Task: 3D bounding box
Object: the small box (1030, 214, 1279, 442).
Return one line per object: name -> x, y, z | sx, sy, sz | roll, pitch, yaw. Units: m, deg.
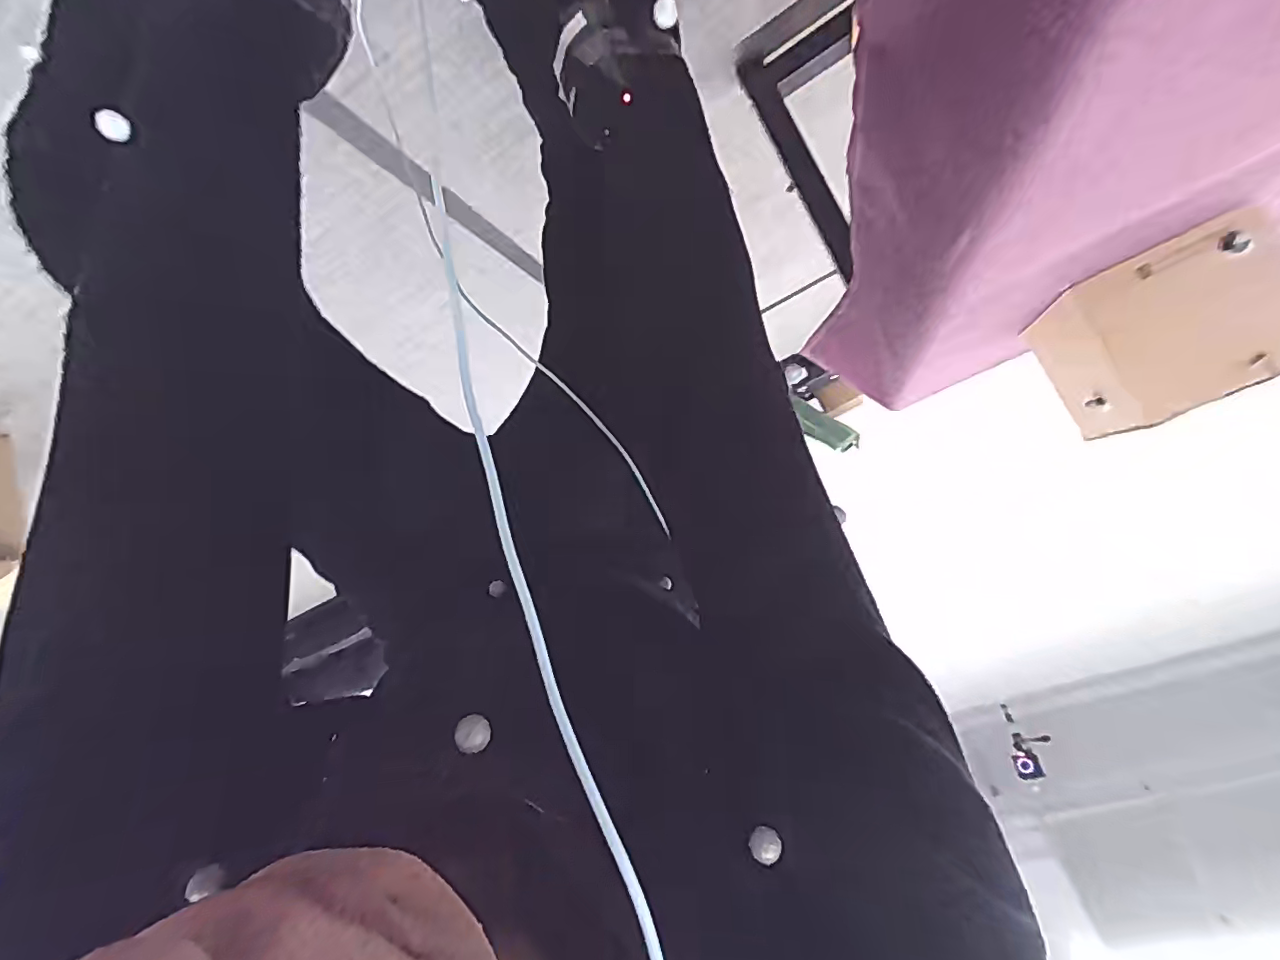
small box -> 0.581, -0.160, 0.606 | 0.168, 0.176, 0.179 | -25, 170, 19
